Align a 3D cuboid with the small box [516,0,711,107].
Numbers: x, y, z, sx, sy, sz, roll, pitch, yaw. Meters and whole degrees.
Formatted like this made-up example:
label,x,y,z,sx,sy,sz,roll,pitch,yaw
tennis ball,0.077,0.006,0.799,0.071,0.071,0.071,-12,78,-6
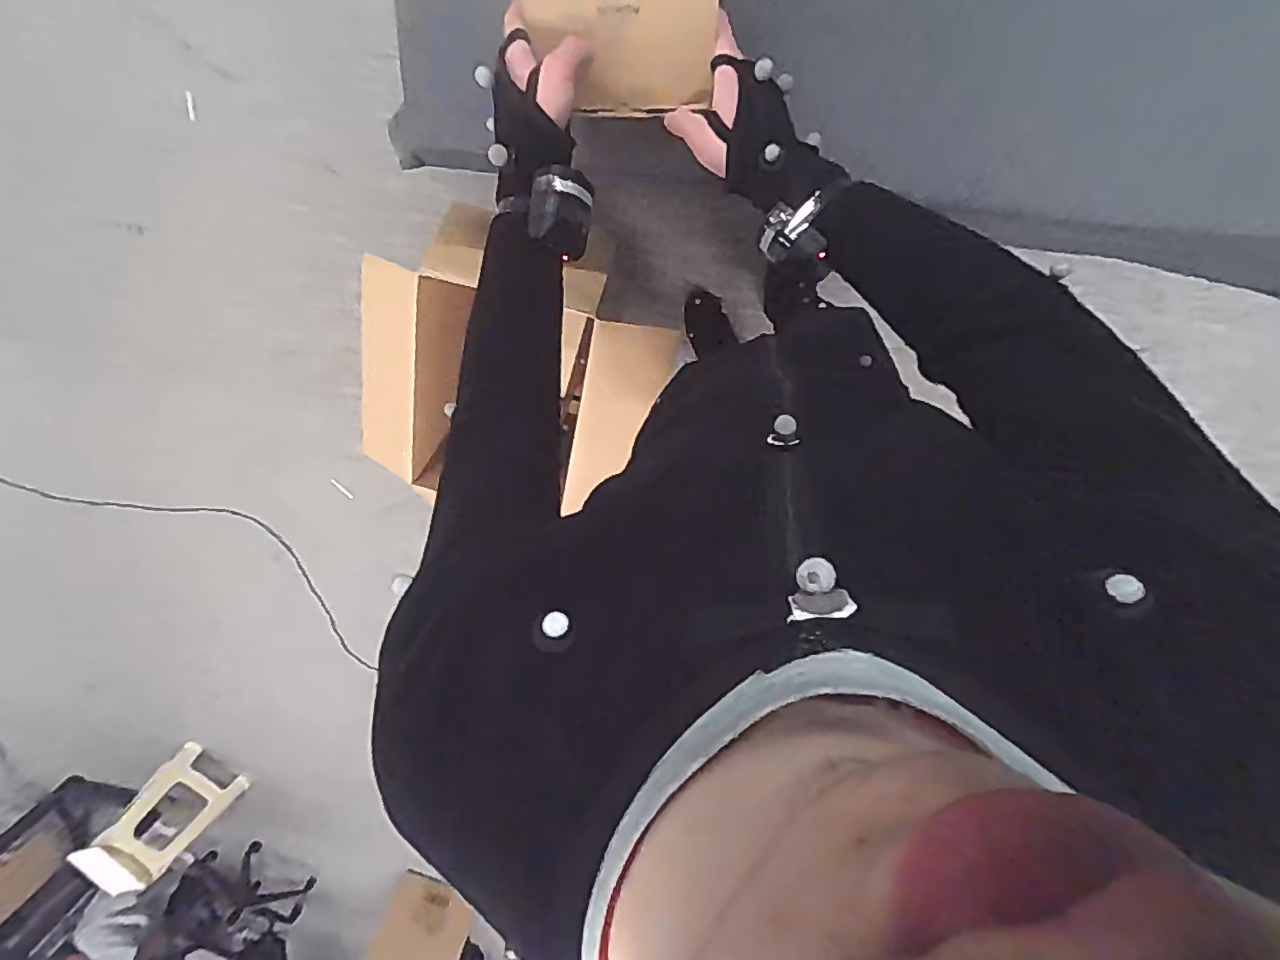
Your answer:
label,x,y,z,sx,sy,sz,roll,pitch,yaw
small box,-0.016,-0.461,0.495,0.168,0.176,0.179,2,132,3
